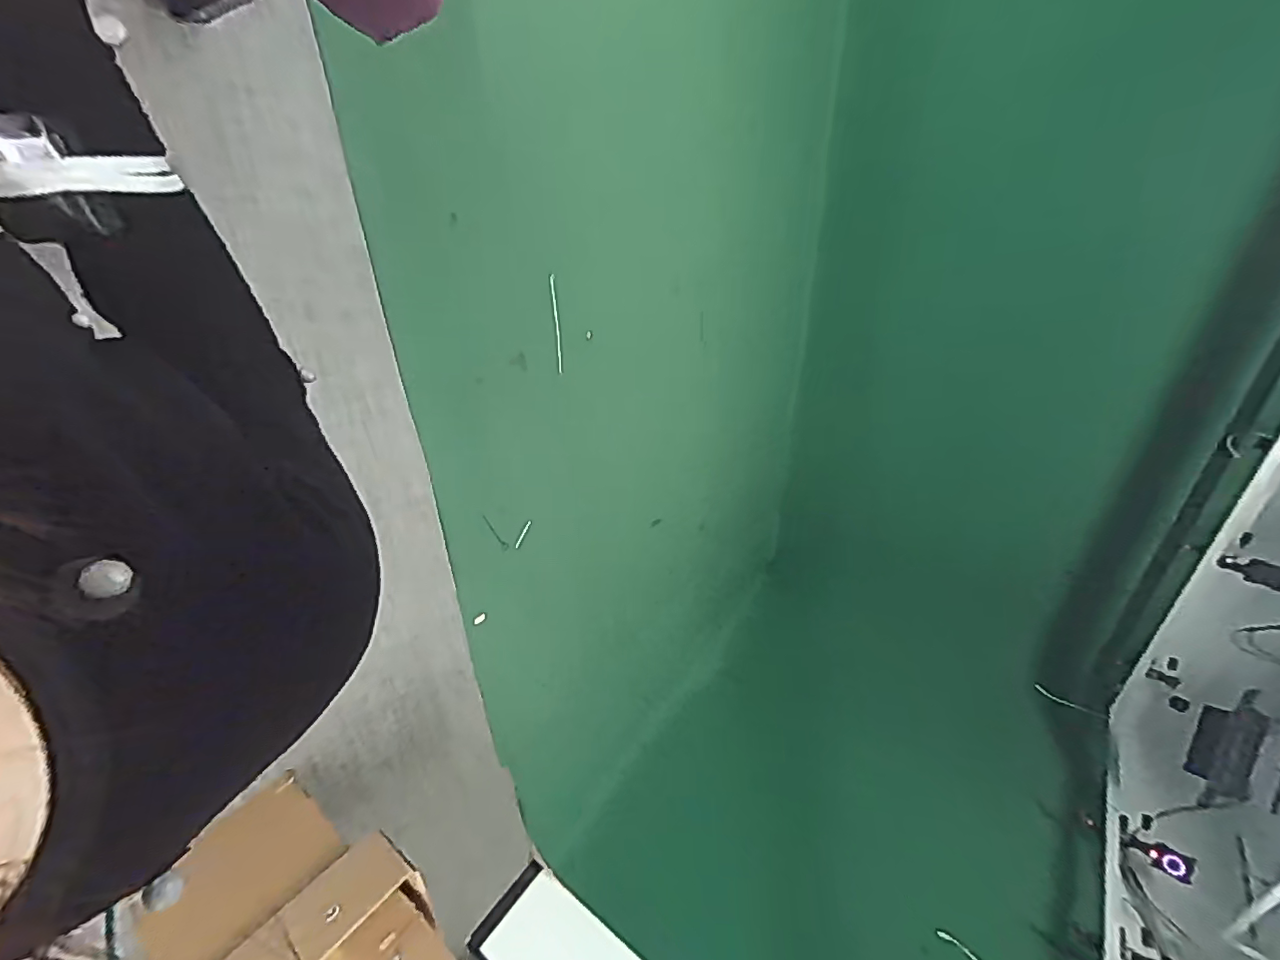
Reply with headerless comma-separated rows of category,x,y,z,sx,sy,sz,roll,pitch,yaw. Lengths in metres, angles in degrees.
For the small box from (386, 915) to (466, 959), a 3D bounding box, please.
small box,-0.528,1.239,1.327,0.179,0.176,0.168,-33,132,-42
